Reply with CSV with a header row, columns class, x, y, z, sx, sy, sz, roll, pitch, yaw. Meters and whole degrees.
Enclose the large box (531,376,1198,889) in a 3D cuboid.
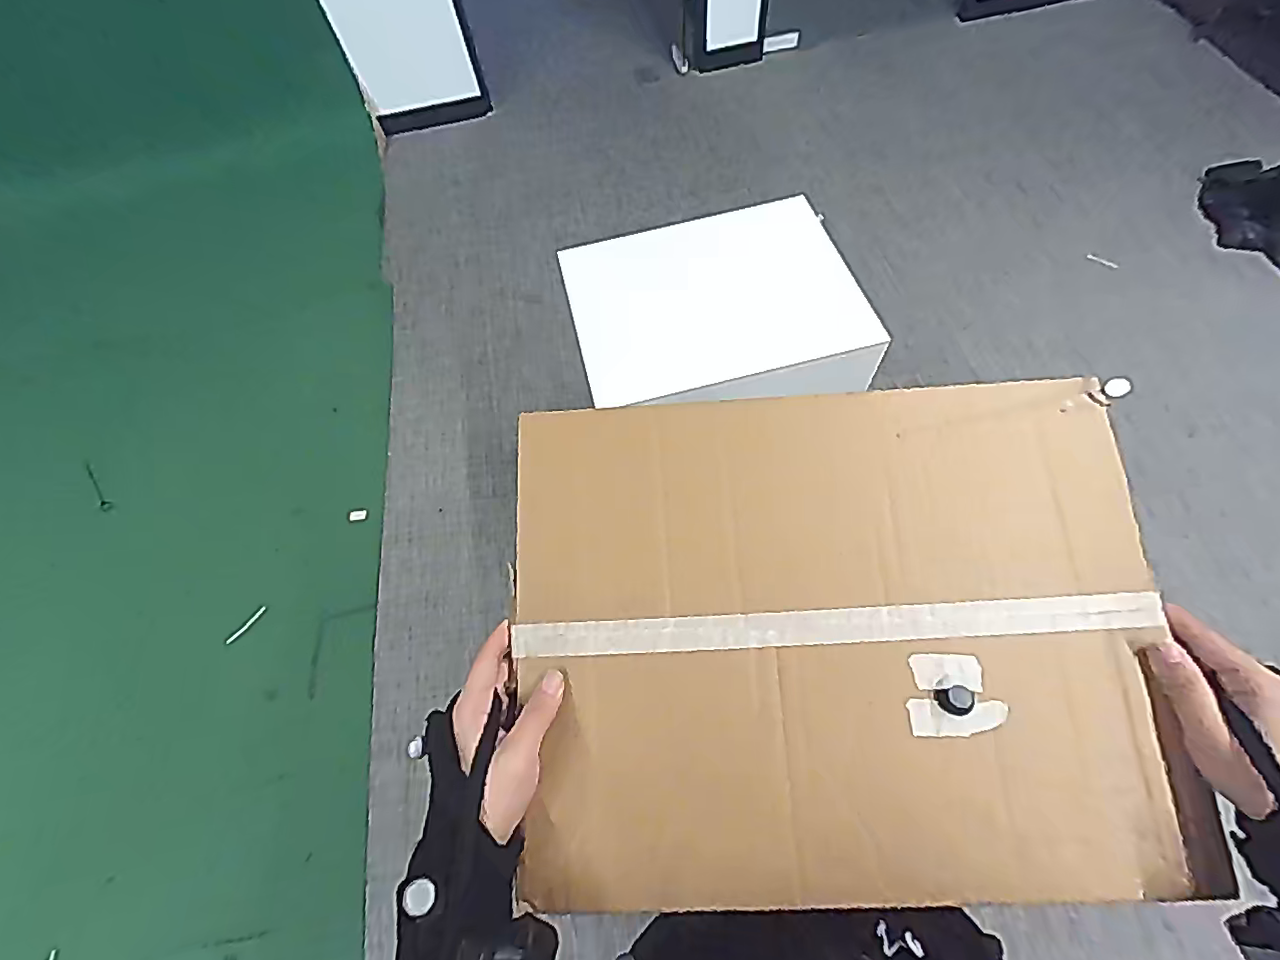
class,x,y,z,sx,sy,sz,roll,pitch,yaw
large box,0.130,0.122,0.504,0.408,0.320,0.320,-3,77,1
